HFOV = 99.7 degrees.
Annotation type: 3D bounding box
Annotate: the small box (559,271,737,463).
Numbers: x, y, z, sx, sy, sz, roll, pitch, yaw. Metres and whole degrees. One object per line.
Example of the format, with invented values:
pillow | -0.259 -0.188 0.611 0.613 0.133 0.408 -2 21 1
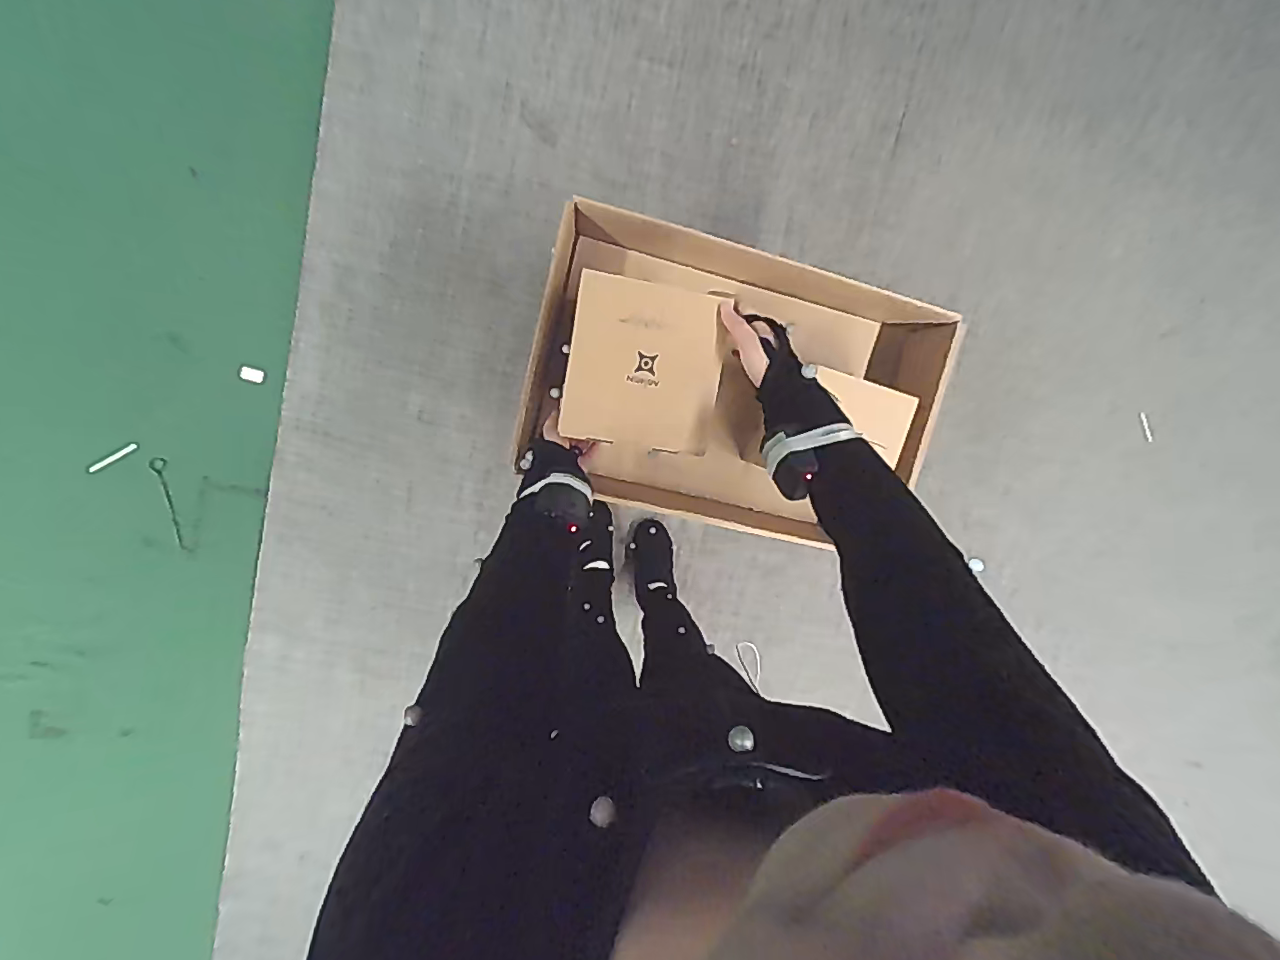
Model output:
small box | 0.000 -0.129 0.650 0.168 0.176 0.179 9 98 -9
